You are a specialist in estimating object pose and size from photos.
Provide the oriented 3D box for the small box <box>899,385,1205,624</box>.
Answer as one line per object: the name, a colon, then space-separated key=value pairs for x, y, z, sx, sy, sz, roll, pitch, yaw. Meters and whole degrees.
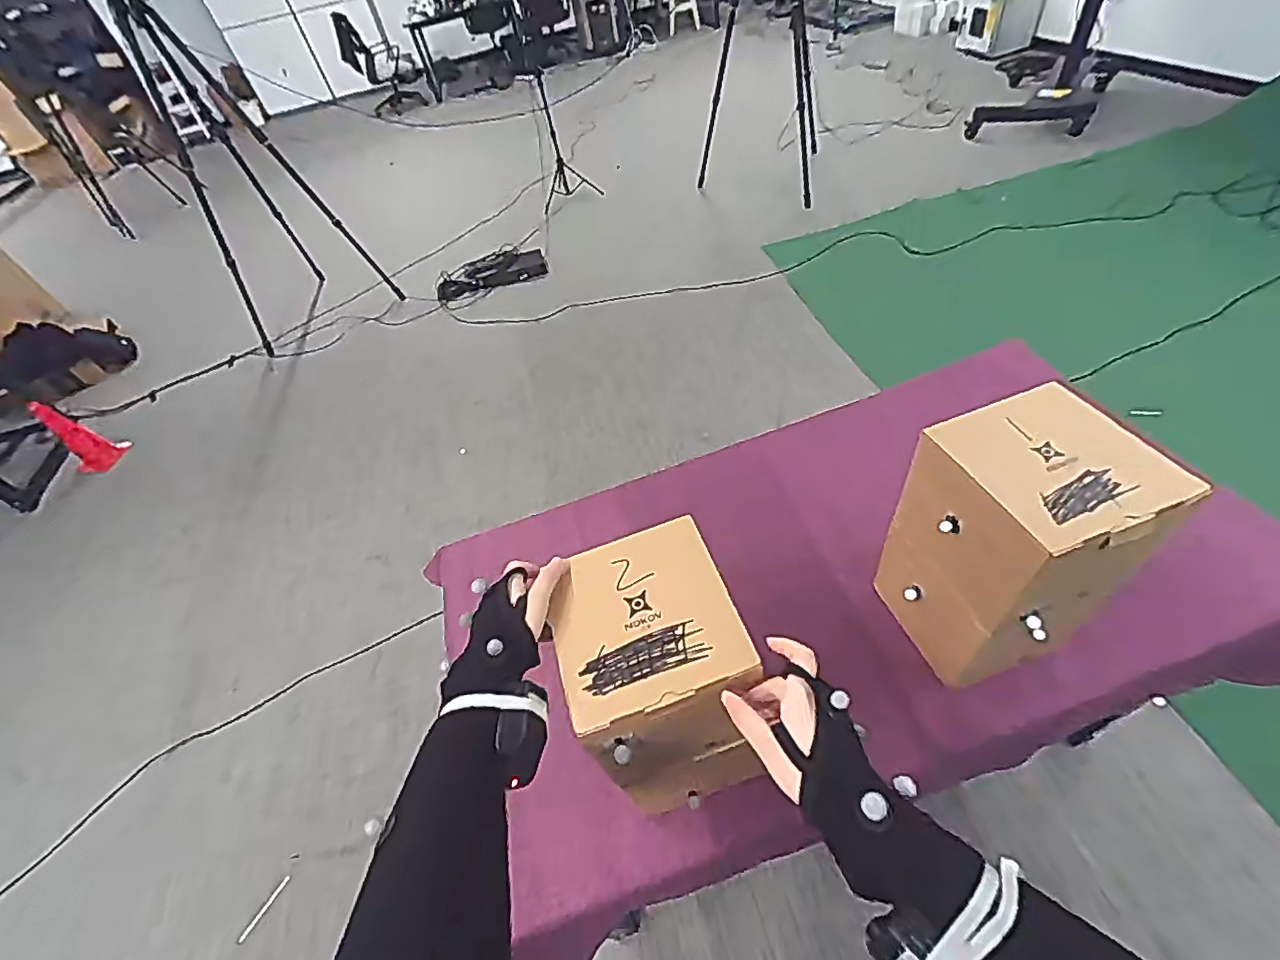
small box: x=0.414 y=0.034 z=0.586 sx=0.168 sy=0.176 sz=0.179 roll=-20 pitch=48 yaw=-5

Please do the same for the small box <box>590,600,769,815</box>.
small box: x=0.049 y=0.286 z=0.677 sx=0.168 sy=0.176 sz=0.179 roll=-19 pitch=49 yaw=-3

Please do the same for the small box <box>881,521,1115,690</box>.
small box: x=0.442 y=0.141 z=0.708 sx=0.168 sy=0.176 sz=0.179 roll=-20 pitch=47 yaw=-3
